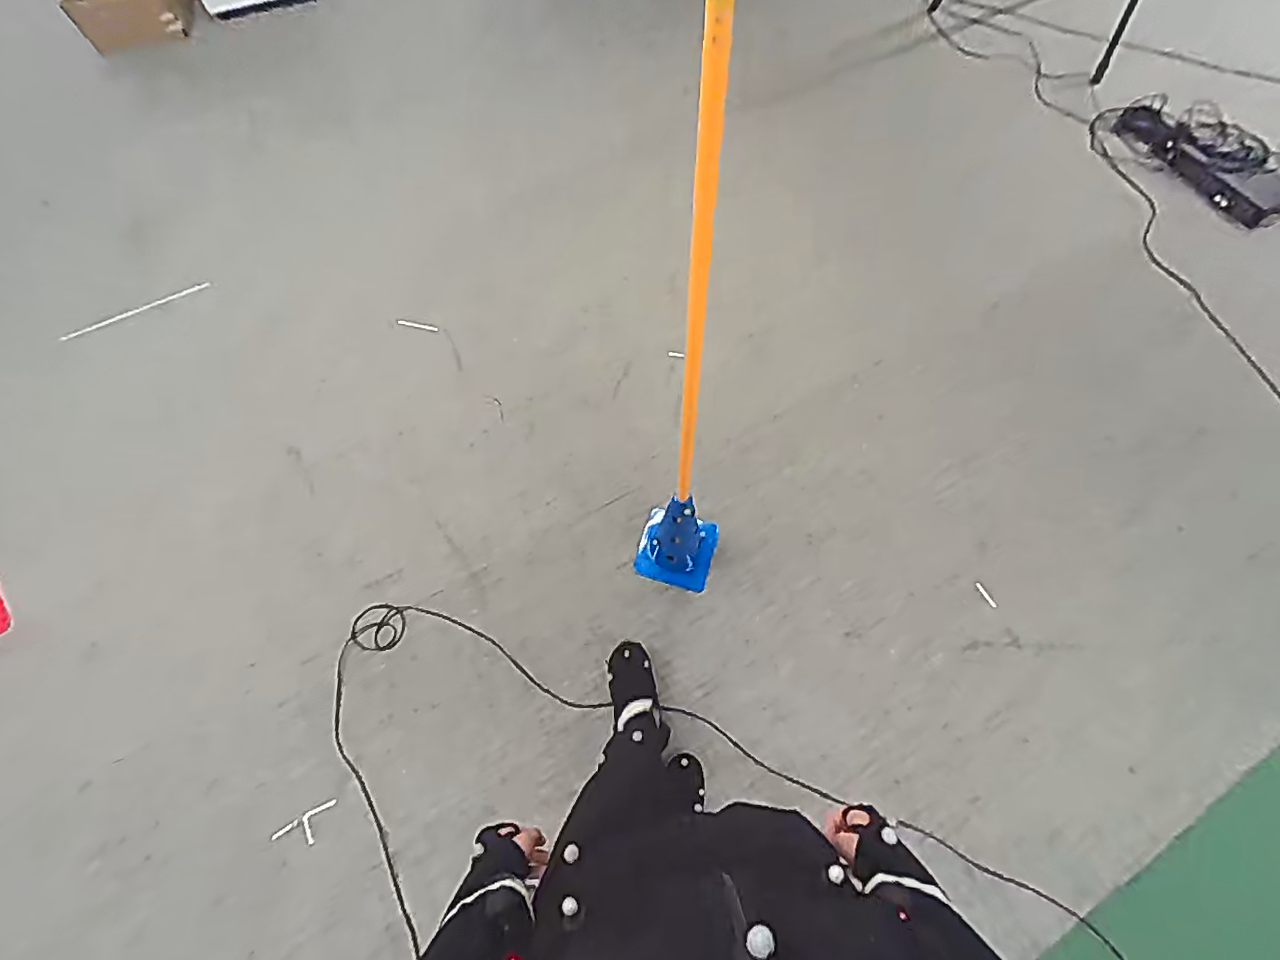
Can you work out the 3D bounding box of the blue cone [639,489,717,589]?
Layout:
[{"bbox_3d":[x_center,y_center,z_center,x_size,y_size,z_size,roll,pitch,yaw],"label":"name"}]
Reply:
[{"bbox_3d":[0.097,0.114,1.297,0.192,0.380,0.193,14,65,8],"label":"blue cone"}]
